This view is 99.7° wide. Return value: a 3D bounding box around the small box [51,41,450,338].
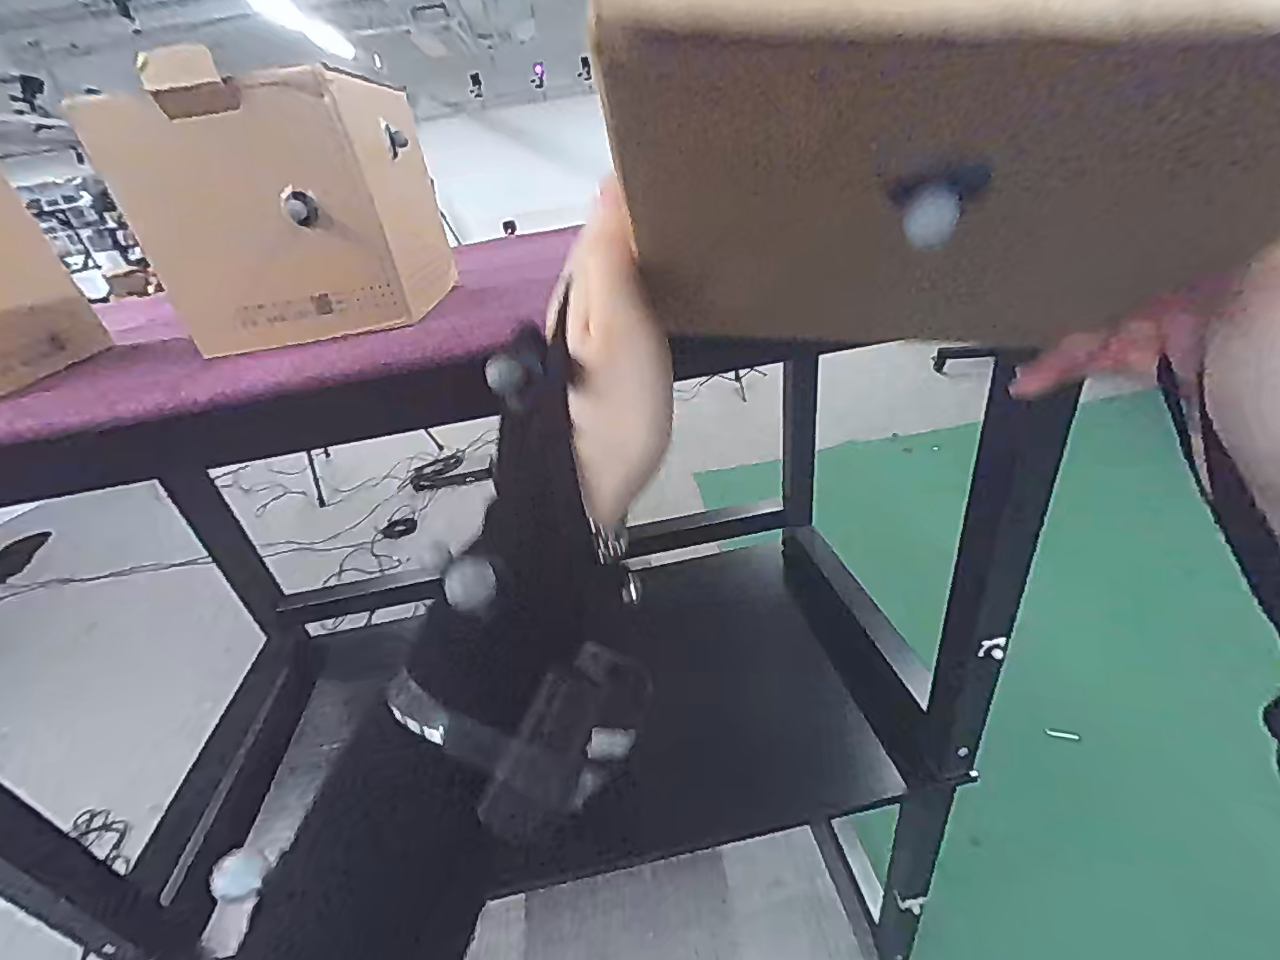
[{"bbox_3d":[-0.270,-0.220,0.435,0.168,0.176,0.179,-9,30,-1],"label":"small box"}]
